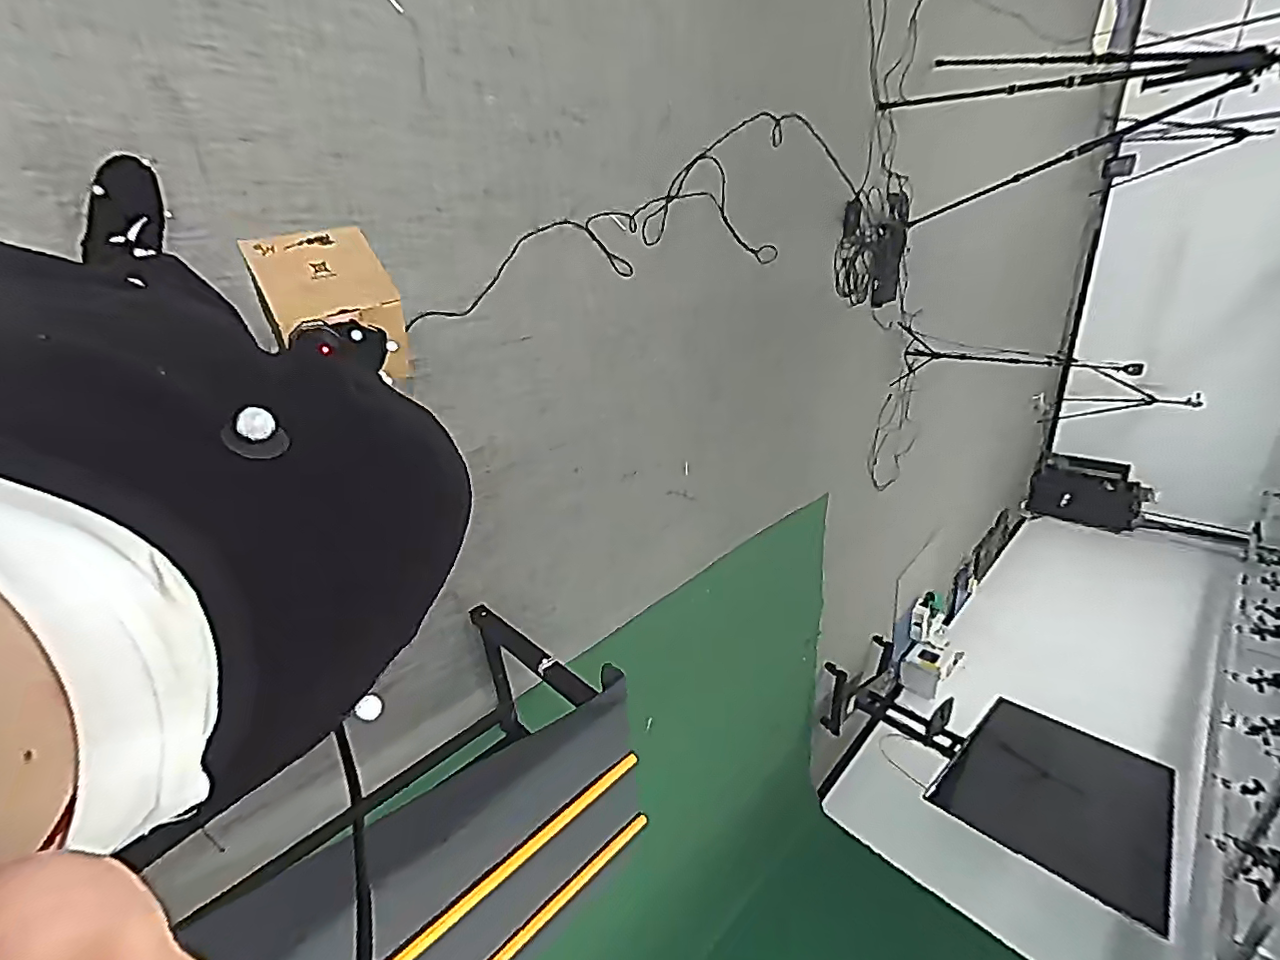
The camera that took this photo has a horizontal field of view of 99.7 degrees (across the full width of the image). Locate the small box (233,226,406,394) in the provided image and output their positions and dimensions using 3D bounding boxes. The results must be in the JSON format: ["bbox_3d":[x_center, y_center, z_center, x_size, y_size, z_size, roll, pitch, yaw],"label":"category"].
[{"bbox_3d":[-0.488,-0.258,0.849,0.168,0.179,0.176,-28,162,-28],"label":"small box"}]
